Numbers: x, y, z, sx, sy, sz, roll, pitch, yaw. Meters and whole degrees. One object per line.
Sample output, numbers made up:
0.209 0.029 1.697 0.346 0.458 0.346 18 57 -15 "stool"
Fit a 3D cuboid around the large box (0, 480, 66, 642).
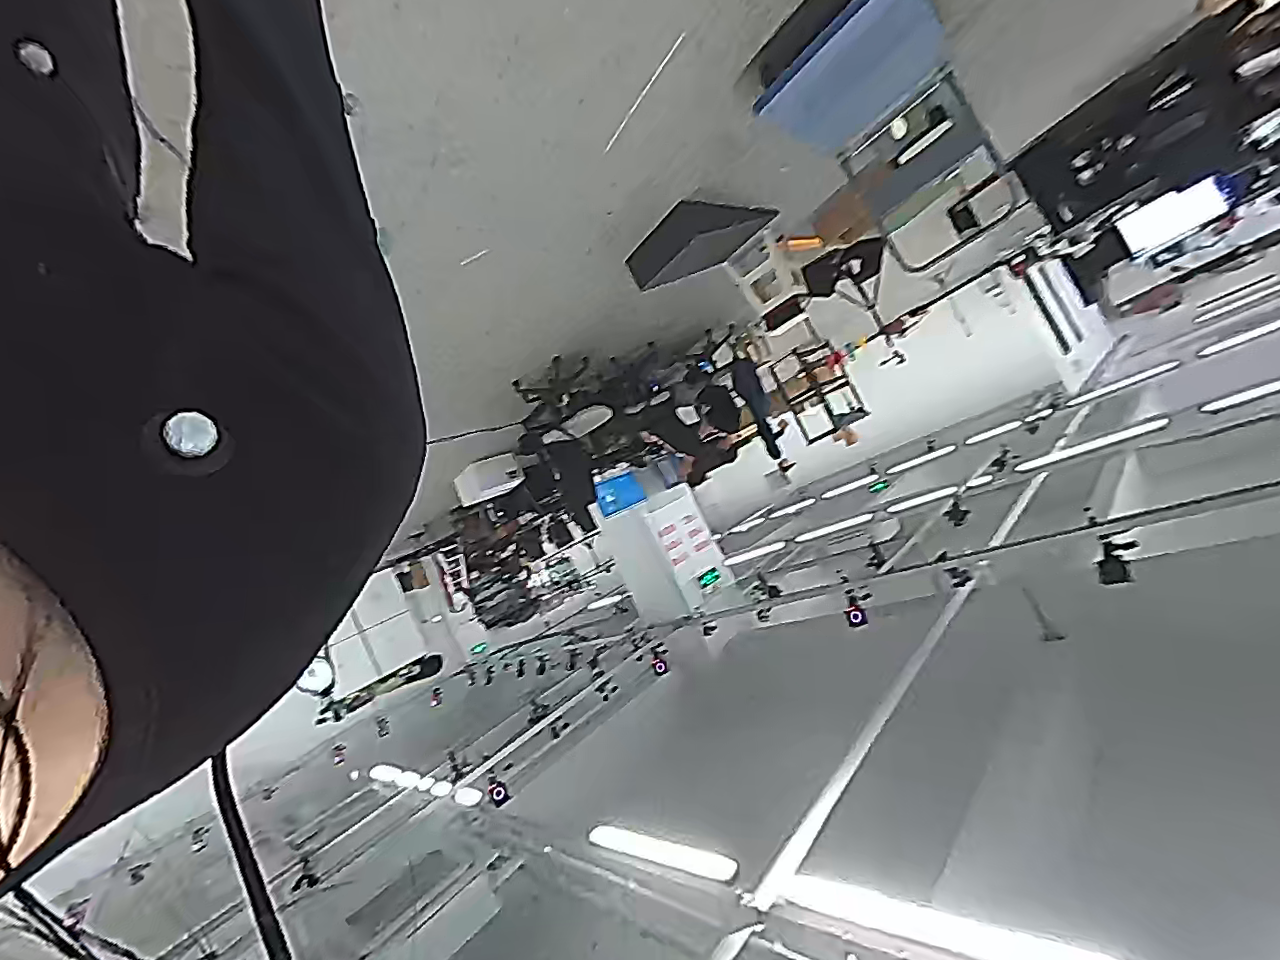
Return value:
-1.578 0.209 1.209 0.320 0.320 0.408 -21 175 -46 "large box"
